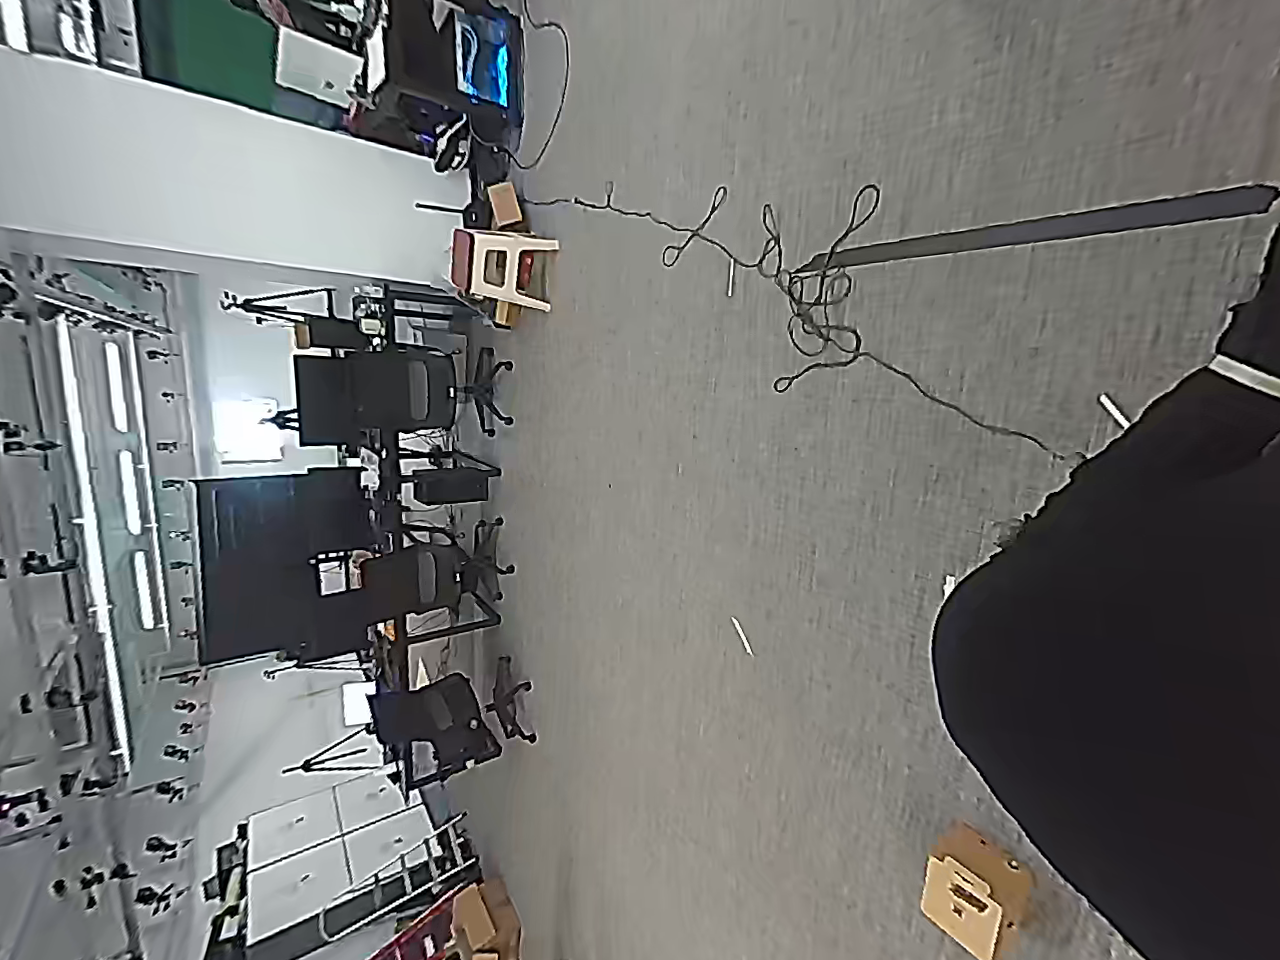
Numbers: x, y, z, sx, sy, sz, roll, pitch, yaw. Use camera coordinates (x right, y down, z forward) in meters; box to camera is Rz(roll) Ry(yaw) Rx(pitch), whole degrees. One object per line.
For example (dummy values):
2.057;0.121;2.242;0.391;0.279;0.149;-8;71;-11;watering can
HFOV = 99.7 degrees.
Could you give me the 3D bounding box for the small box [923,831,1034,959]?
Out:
0.826;1.009;1.317;0.168;0.176;0.179;19;110;54;small box
